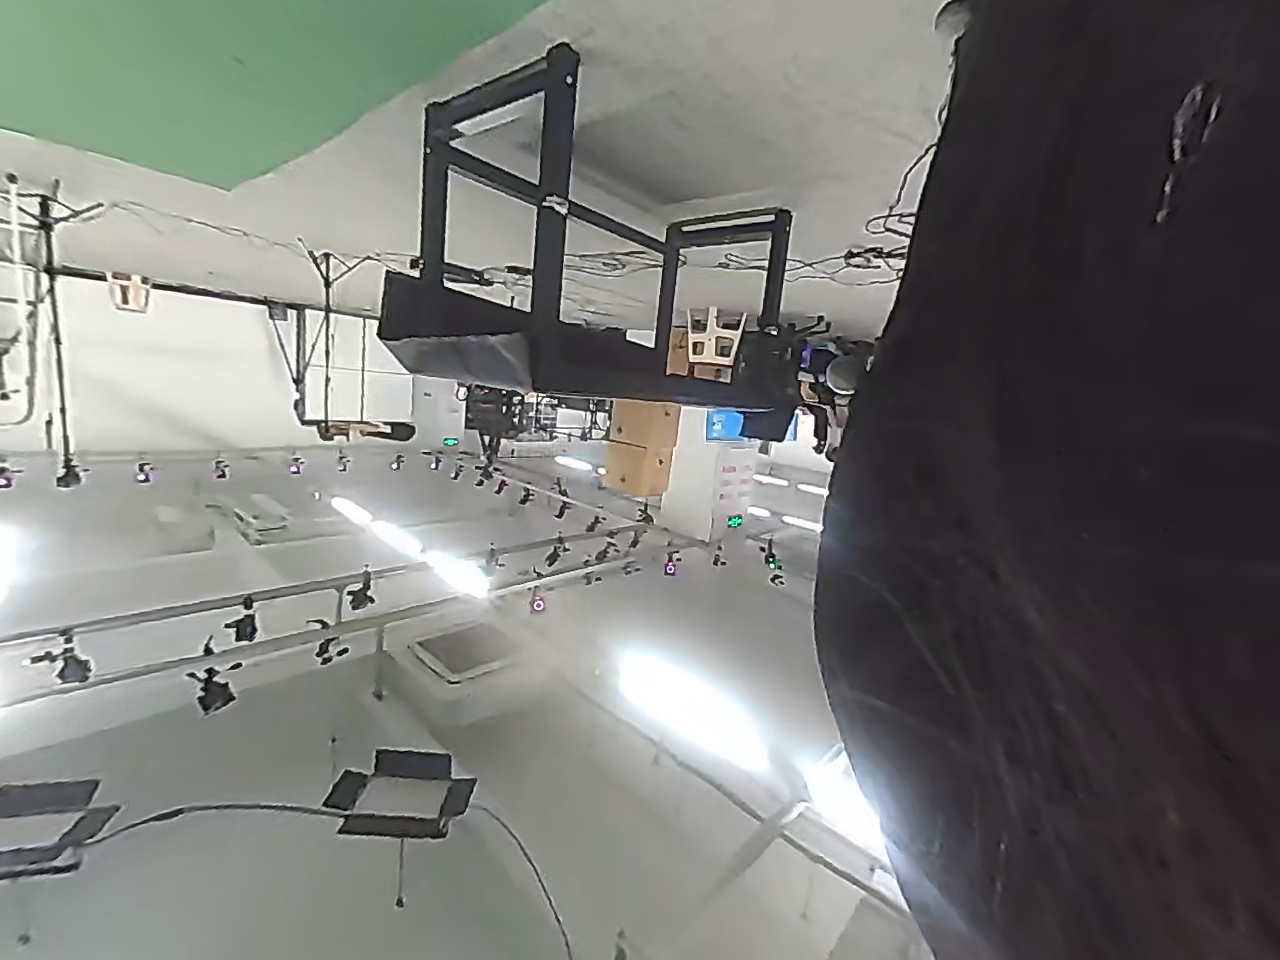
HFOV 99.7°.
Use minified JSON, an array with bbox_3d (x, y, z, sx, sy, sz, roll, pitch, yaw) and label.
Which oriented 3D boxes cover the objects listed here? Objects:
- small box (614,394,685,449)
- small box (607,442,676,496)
[{"bbox_3d":[0.036,-0.204,1.863,0.179,0.176,0.168,15,-166,38],"label":"small box"},{"bbox_3d":[0.009,-0.047,1.895,0.179,0.176,0.168,14,-168,38],"label":"small box"}]
